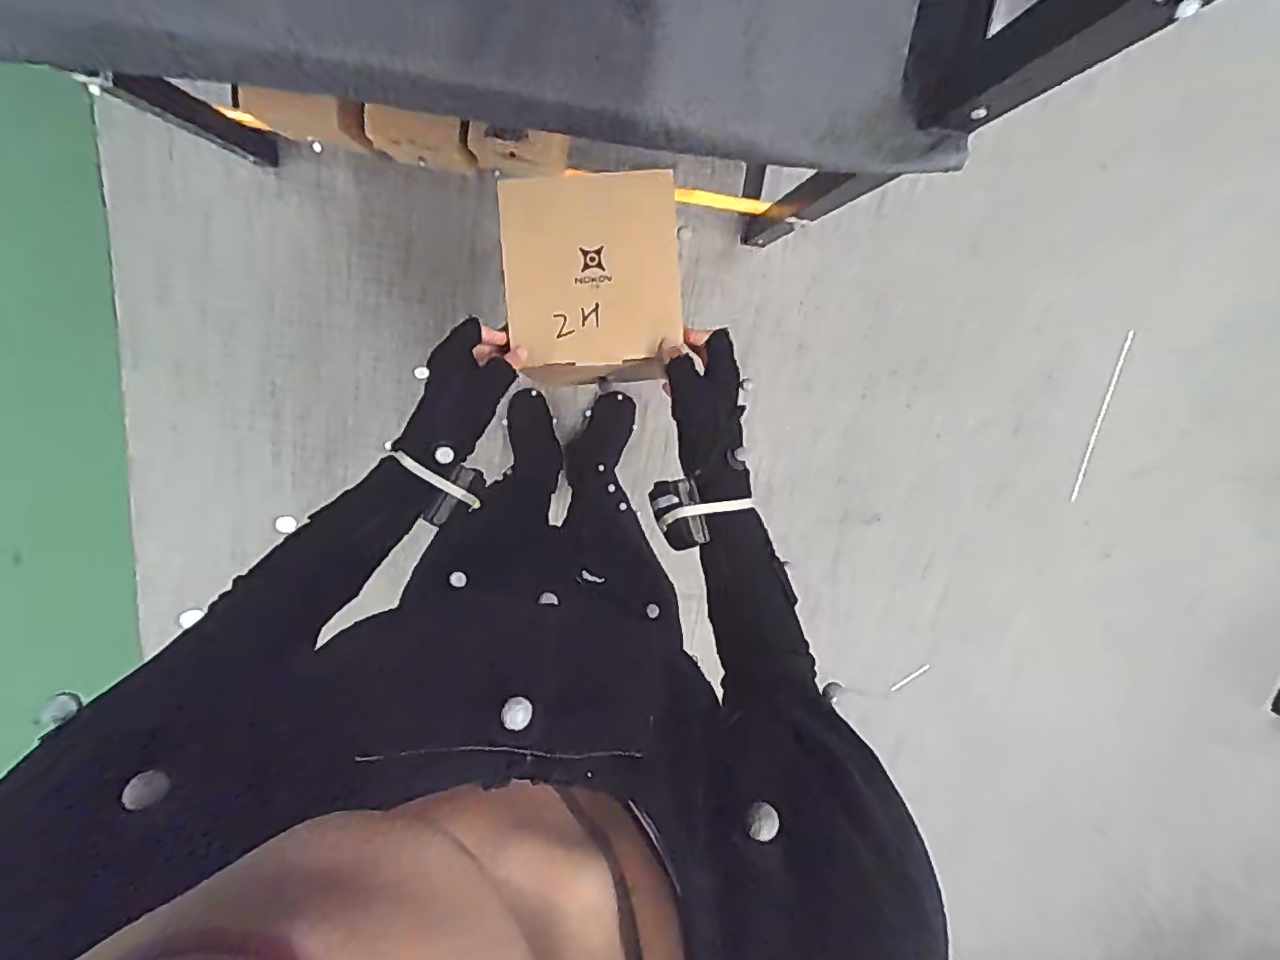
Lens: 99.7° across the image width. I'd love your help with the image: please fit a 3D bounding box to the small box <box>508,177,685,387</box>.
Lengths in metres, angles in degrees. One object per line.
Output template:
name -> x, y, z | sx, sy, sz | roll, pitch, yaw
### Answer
small box -> -0.042, -0.204, 0.599 | 0.168, 0.176, 0.179 | -4, 94, 0
